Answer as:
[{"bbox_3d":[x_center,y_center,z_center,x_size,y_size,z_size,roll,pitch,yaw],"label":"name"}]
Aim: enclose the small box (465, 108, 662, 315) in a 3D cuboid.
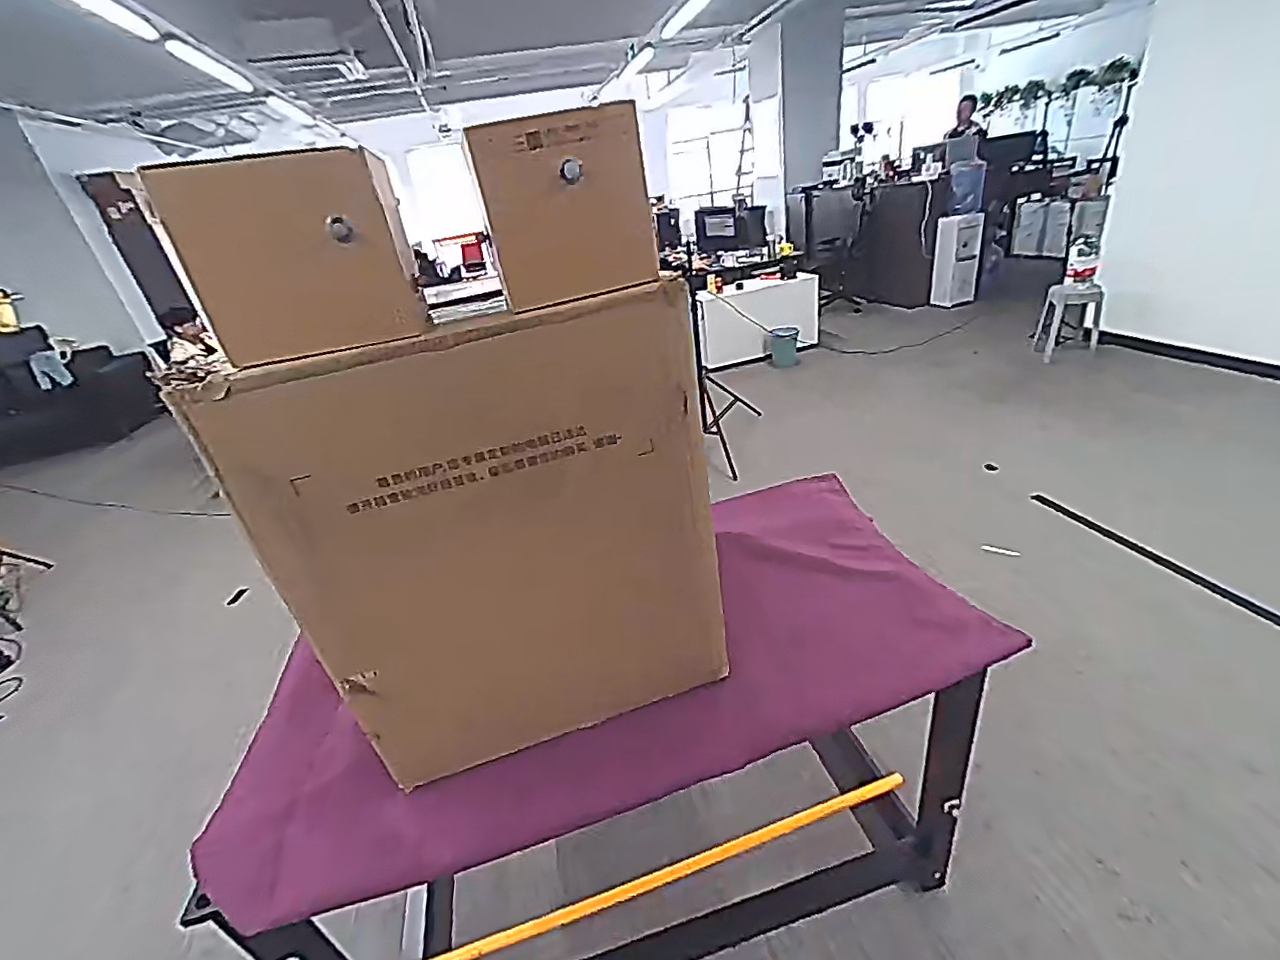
[{"bbox_3d":[-0.089,-0.299,0.607,0.168,0.176,0.179,-17,29,-10],"label":"small box"}]
